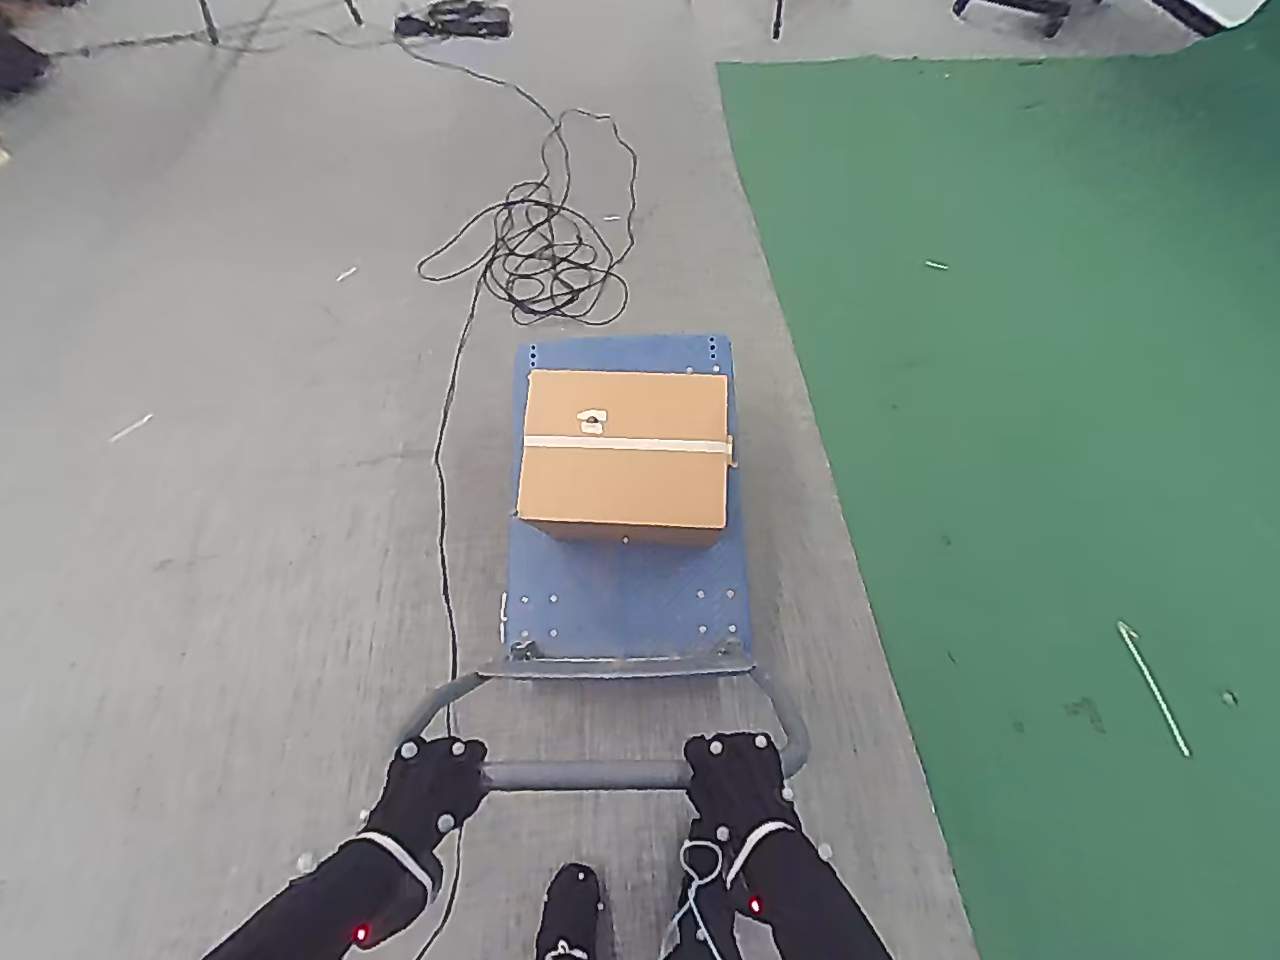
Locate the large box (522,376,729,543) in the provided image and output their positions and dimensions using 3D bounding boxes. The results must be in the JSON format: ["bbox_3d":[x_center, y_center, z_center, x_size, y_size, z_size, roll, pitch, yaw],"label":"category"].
[{"bbox_3d":[-0.013,-0.028,1.207,0.408,0.320,0.320,2,77,5],"label":"large box"}]
